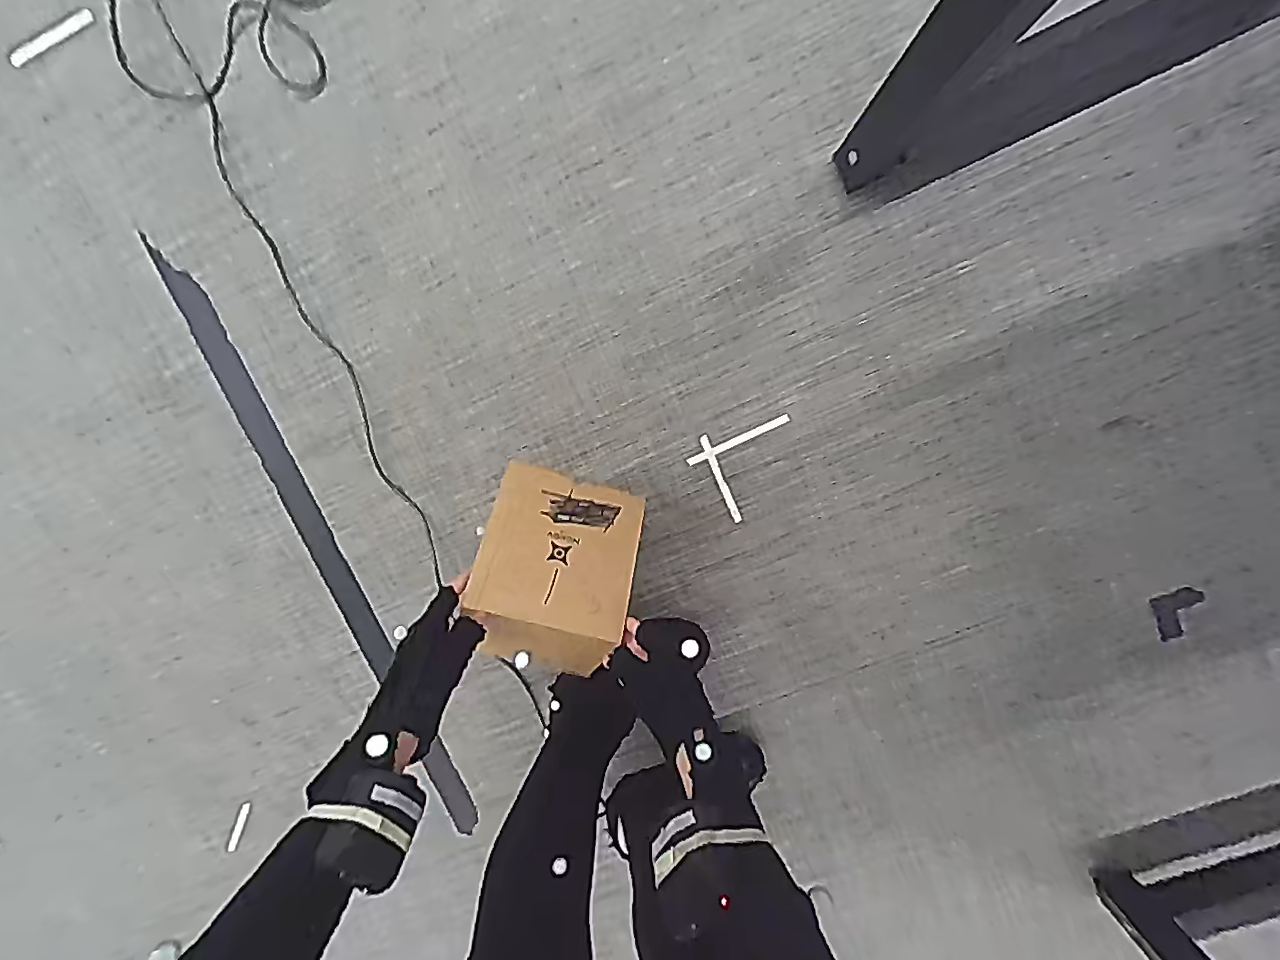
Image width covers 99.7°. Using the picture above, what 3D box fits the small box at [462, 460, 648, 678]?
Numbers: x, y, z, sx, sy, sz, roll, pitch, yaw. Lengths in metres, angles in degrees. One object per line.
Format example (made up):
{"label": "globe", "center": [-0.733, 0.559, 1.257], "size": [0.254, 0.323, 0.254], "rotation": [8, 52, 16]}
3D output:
{"label": "small box", "center": [-0.103, 0.110, 0.635], "size": [0.168, 0.179, 0.176], "rotation": [17, 144, -10]}
